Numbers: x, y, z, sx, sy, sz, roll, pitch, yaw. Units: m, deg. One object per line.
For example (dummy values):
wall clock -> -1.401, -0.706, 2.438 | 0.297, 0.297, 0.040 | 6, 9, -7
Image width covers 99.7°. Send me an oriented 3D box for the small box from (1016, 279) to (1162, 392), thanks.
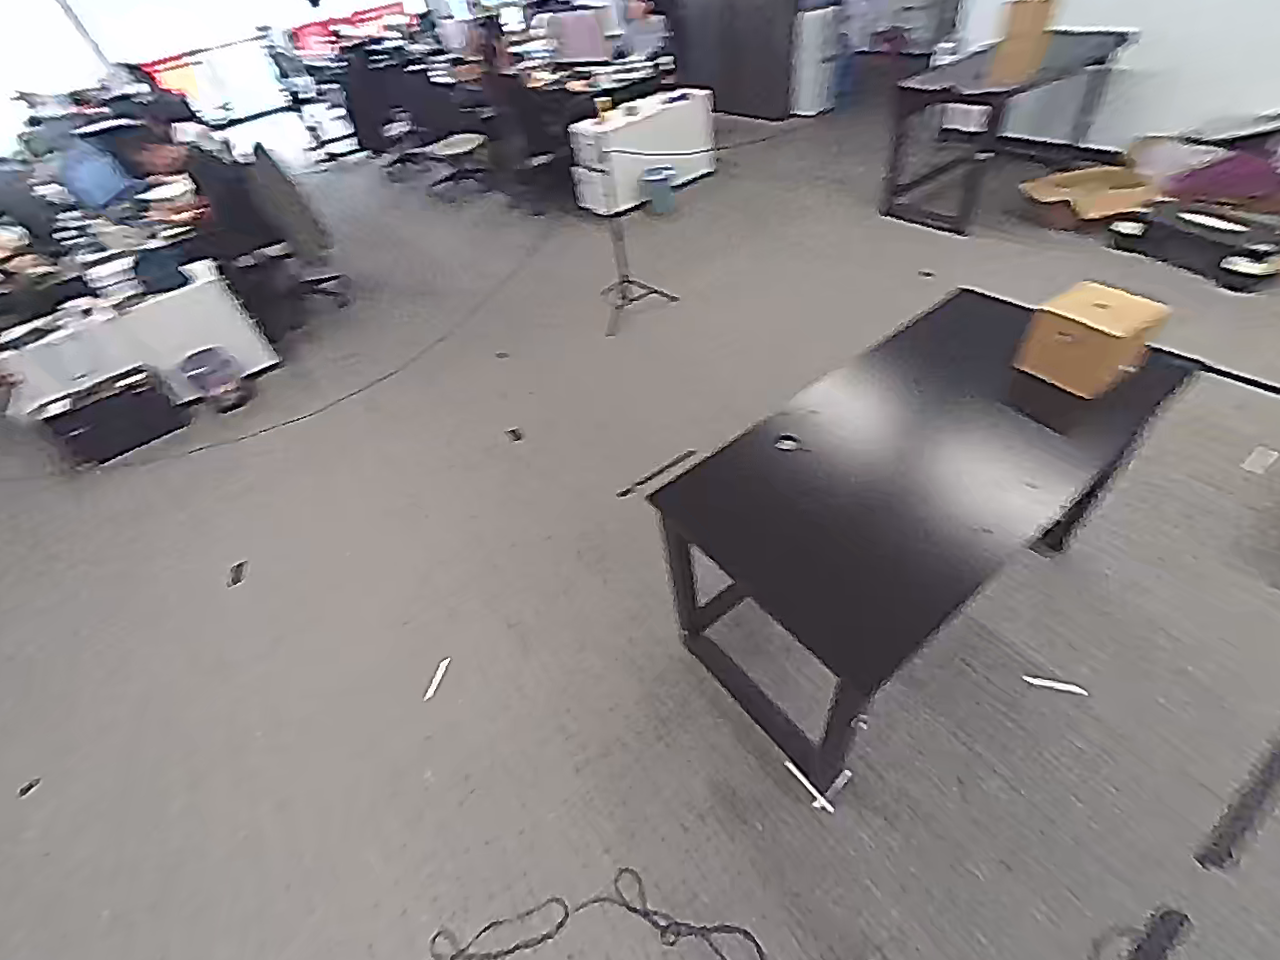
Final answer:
small box -> 1.023, -0.333, 1.253 | 0.168, 0.176, 0.179 | -28, 48, -13
